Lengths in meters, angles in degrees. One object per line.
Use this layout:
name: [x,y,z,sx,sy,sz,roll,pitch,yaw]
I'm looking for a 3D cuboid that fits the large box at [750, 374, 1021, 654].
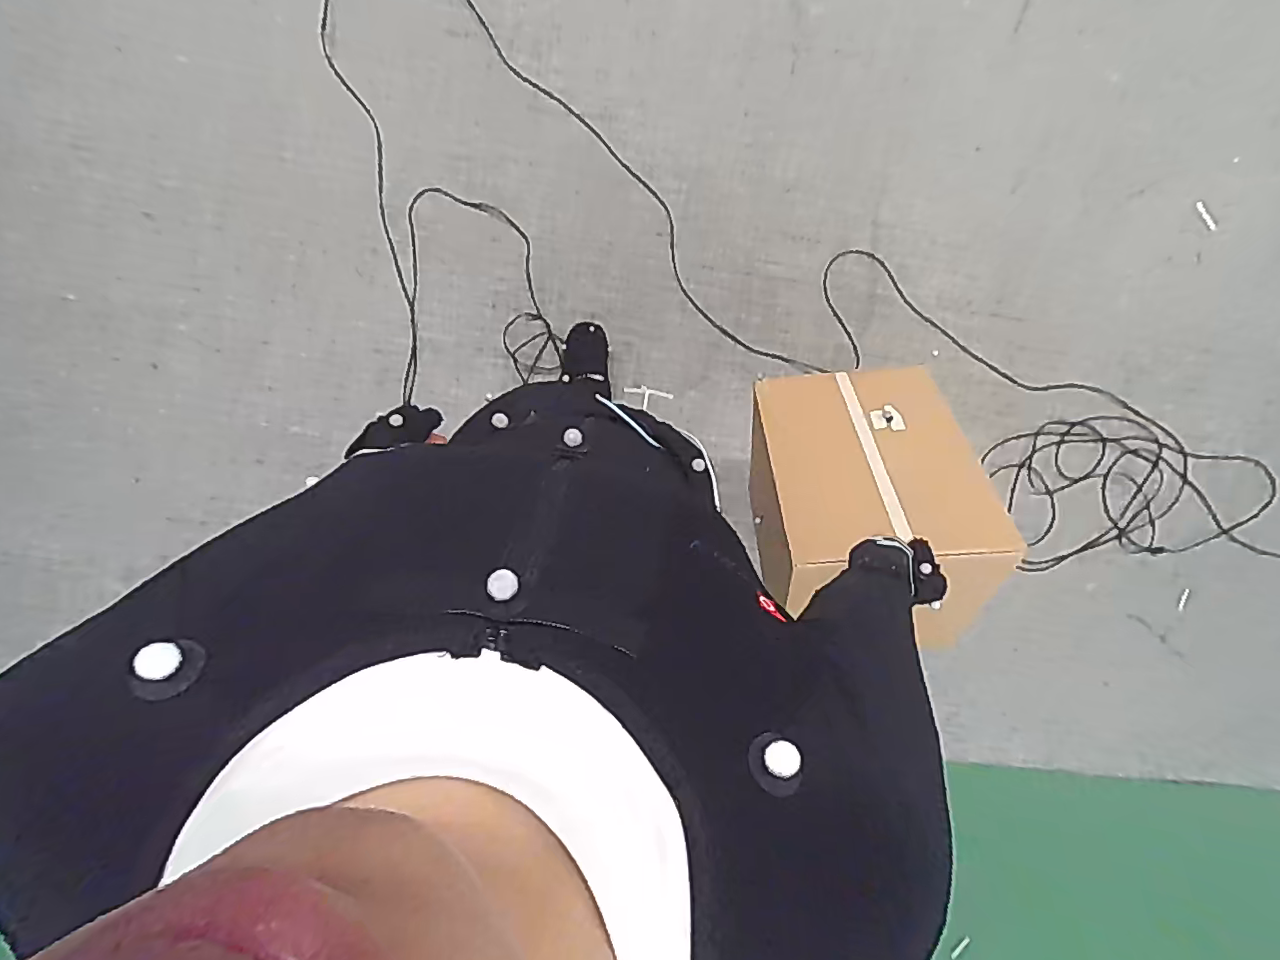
large box: [0.388,0.059,0.991,0.320,0.408,0.320,-3,137,4]
